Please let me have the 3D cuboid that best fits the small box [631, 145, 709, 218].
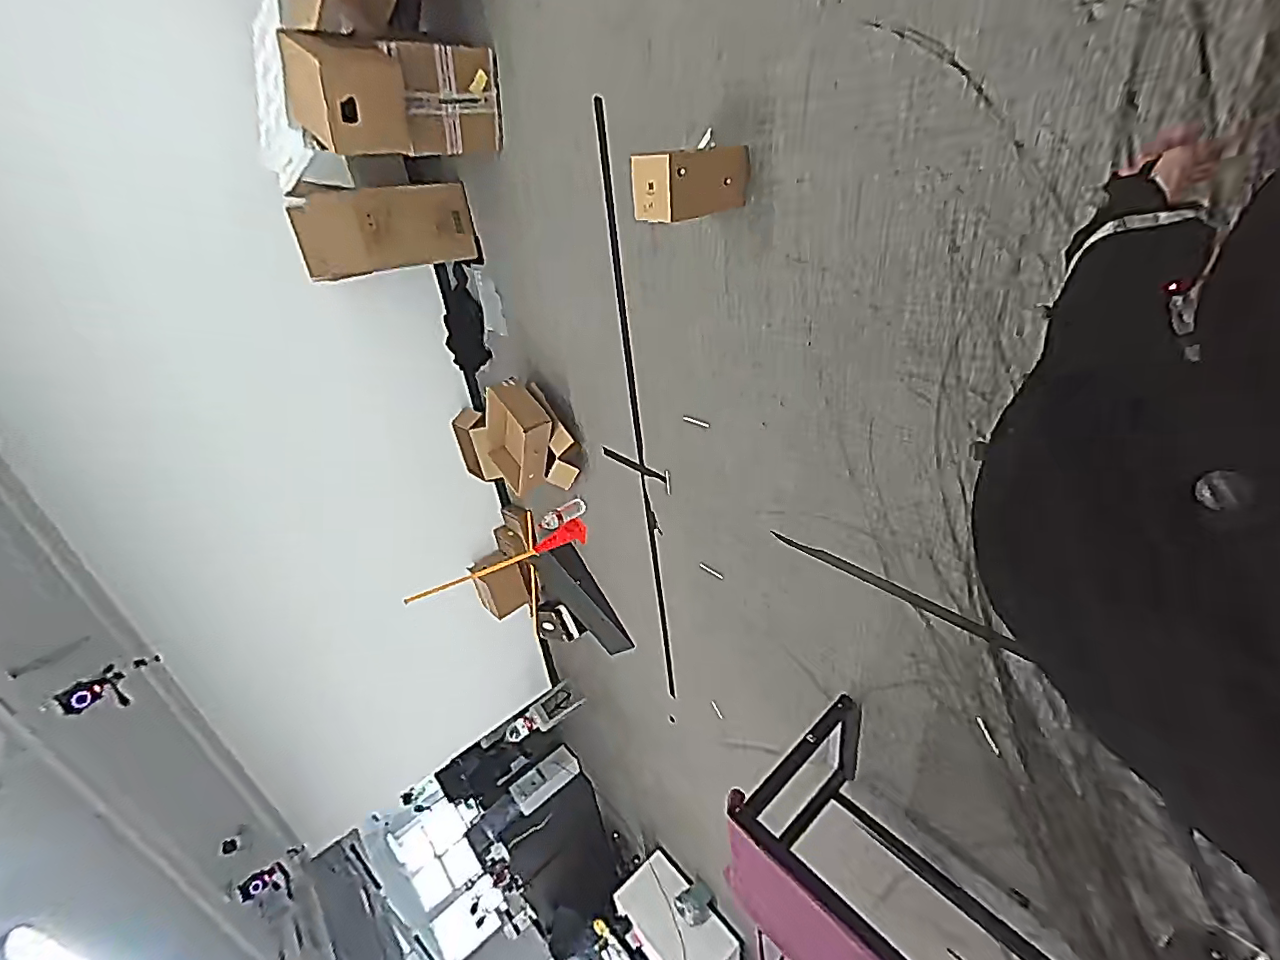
[{"bbox_3d":[0.094,-0.892,1.608,0.168,0.176,0.179,31,137,42],"label":"small box"}]
